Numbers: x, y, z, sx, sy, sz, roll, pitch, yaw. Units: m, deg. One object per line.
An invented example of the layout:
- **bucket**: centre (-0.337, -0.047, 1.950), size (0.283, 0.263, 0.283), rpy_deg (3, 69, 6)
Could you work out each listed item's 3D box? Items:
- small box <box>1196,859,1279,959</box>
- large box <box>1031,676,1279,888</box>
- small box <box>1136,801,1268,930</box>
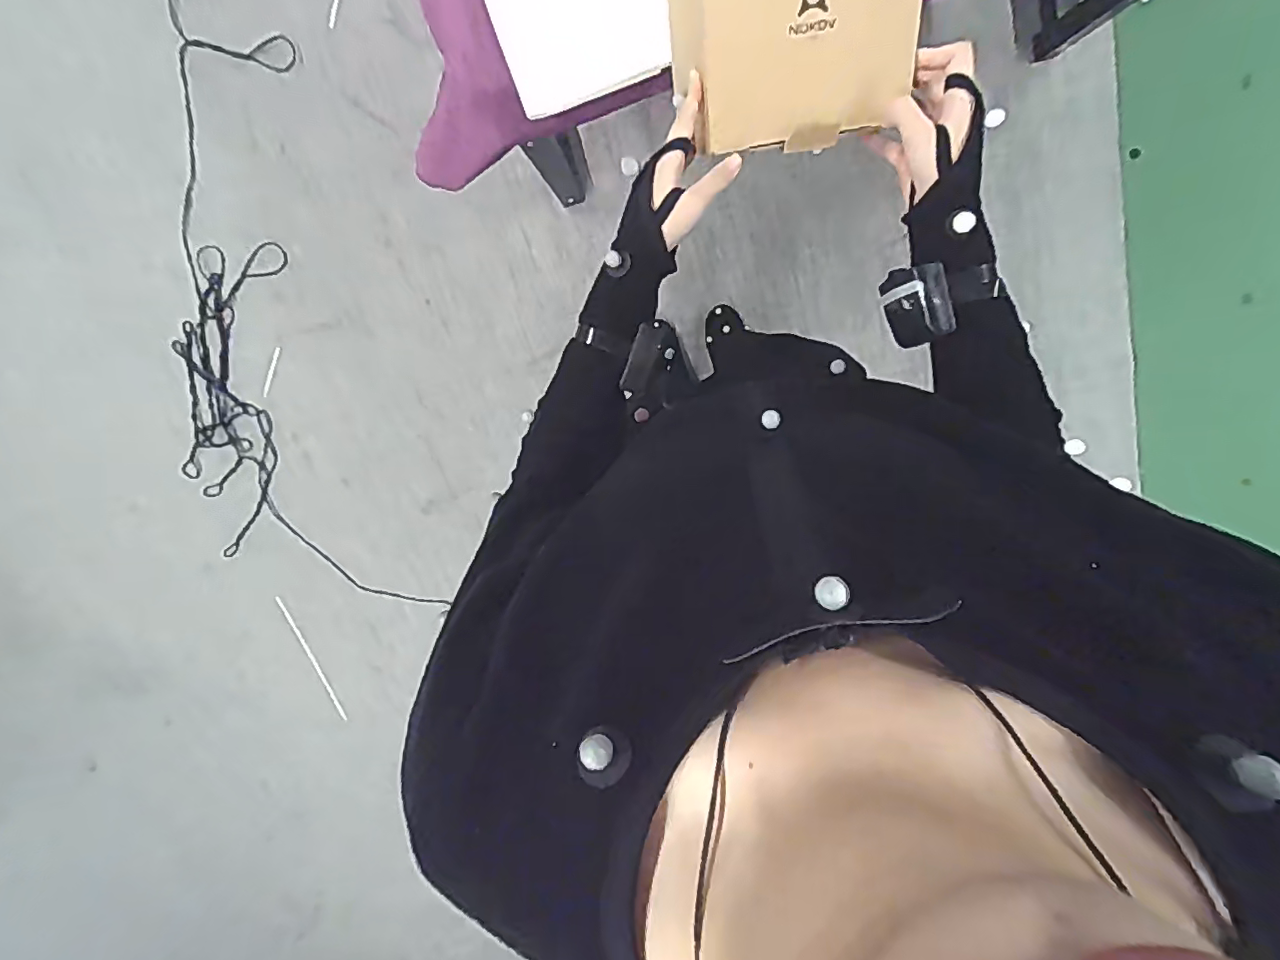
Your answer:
- **small box**: centre (1.366, 0.974, 1.162), size (0.179, 0.176, 0.168), rpy_deg (-30, 101, 8)
- **large box**: centre (1.461, 0.846, 1.550), size (0.408, 0.320, 0.320), rpy_deg (-30, 103, 8)
- **small box**: centre (1.372, 0.934, 1.322), size (0.179, 0.176, 0.168), rpy_deg (-25, 102, 8)
